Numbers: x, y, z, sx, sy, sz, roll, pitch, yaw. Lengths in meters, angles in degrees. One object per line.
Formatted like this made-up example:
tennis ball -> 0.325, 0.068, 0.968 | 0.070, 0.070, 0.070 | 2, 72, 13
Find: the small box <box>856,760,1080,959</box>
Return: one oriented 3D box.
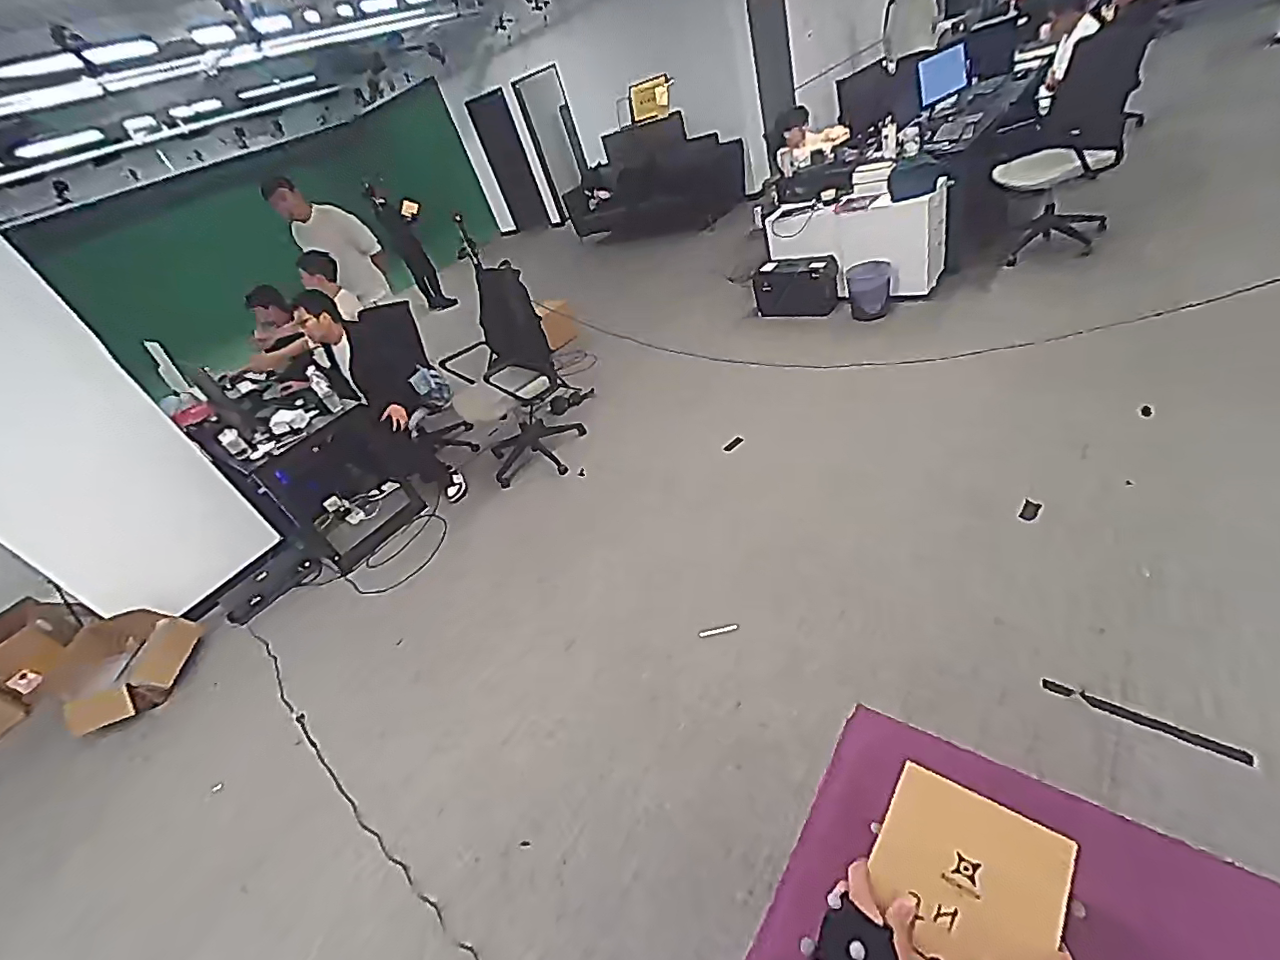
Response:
small box -> 0.357, 0.464, 0.600 | 0.168, 0.176, 0.179 | 14, 49, 40
